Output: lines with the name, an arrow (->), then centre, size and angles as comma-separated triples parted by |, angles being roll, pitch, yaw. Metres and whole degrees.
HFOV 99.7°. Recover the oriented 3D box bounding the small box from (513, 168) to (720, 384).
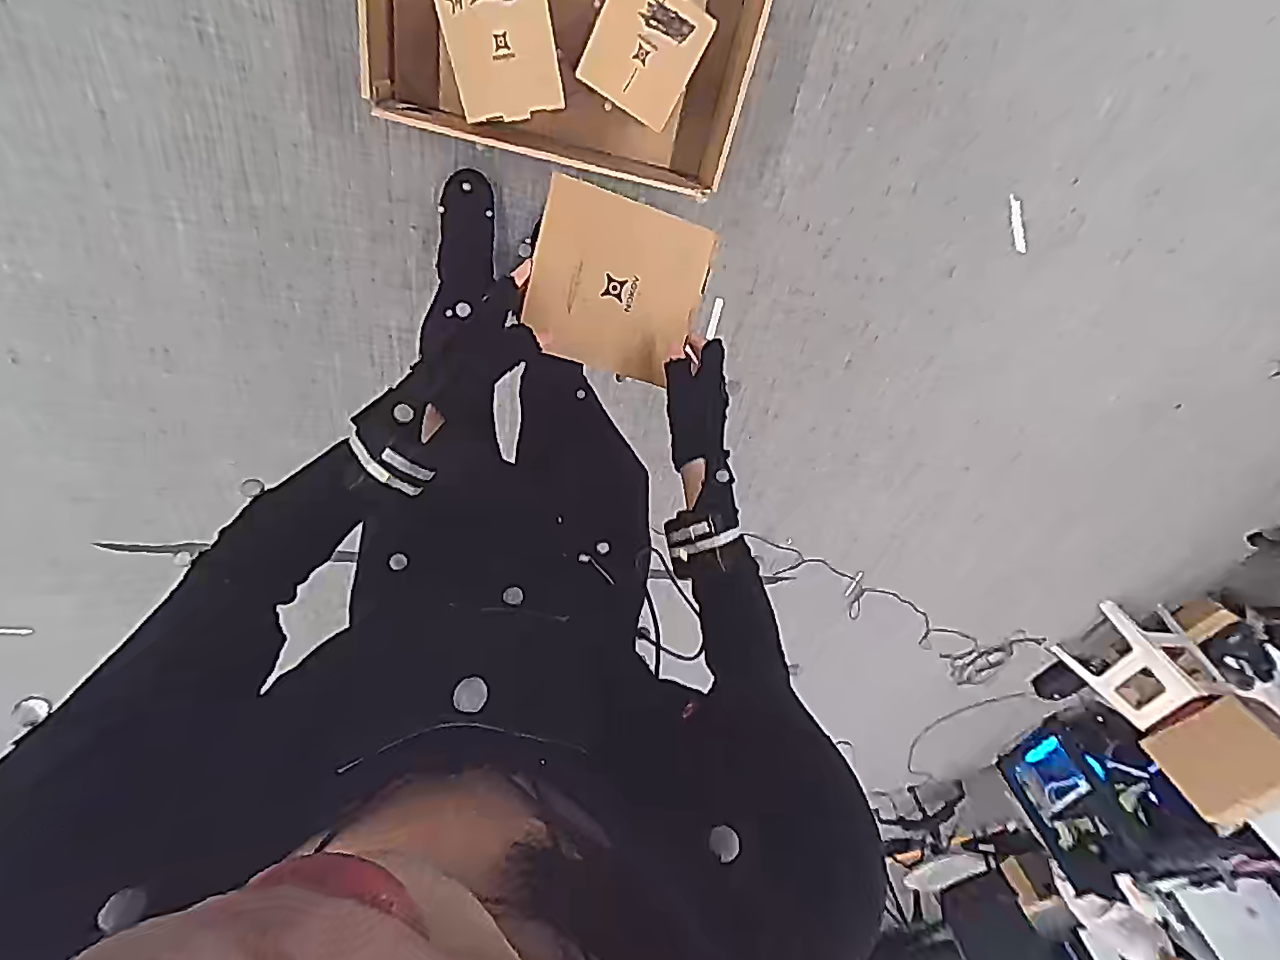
small box -> -0.038, -0.222, 0.615 | 0.179, 0.176, 0.168 | 13, 105, -16
